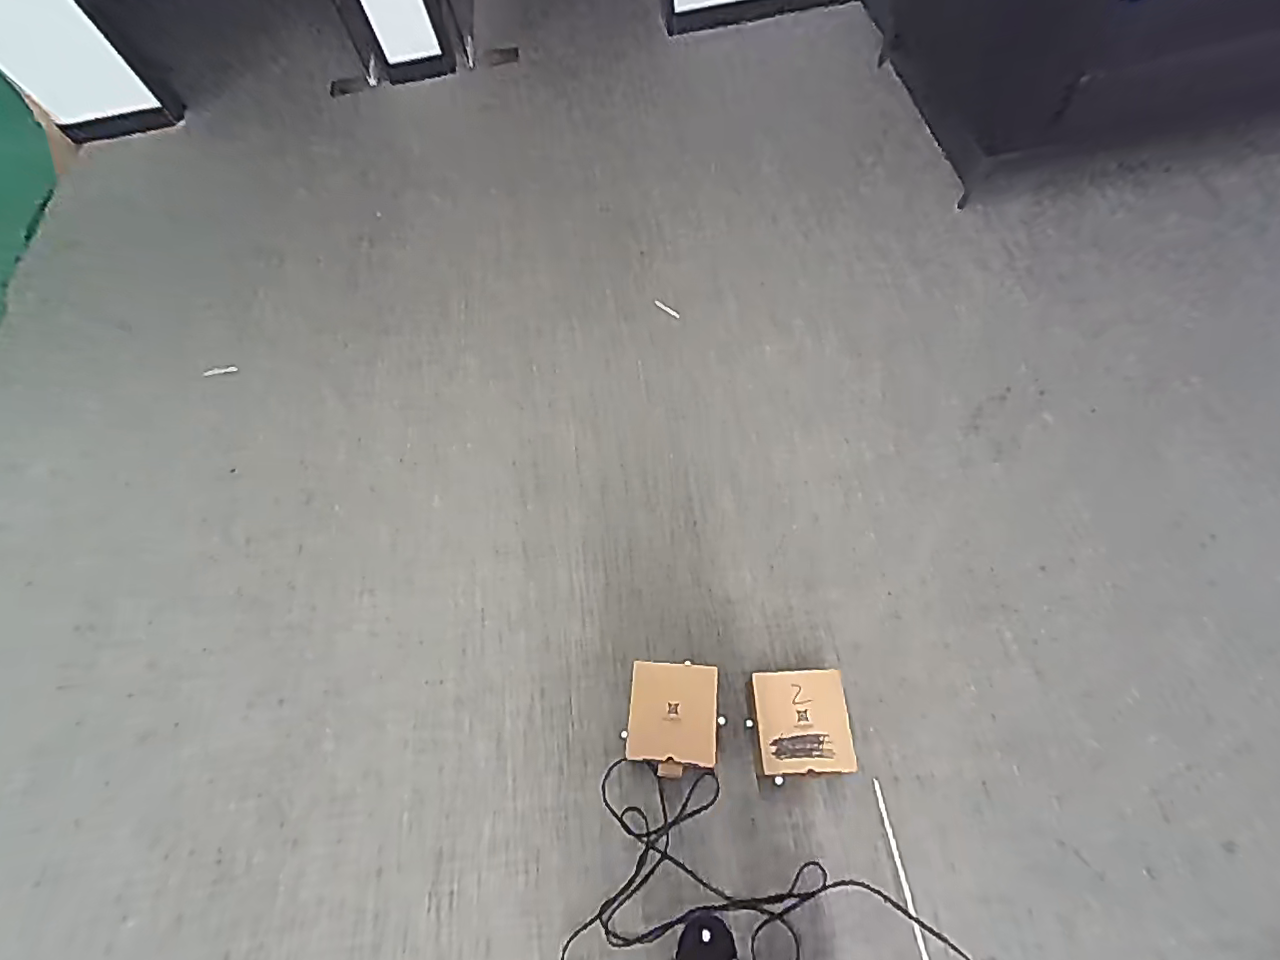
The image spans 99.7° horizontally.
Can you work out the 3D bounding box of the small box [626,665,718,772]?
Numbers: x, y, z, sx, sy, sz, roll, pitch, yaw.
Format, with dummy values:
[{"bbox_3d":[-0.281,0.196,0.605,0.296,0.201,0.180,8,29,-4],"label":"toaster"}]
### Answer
[{"bbox_3d":[0.069,0.480,1.091,0.168,0.176,0.179,2,65,7],"label":"small box"}]
